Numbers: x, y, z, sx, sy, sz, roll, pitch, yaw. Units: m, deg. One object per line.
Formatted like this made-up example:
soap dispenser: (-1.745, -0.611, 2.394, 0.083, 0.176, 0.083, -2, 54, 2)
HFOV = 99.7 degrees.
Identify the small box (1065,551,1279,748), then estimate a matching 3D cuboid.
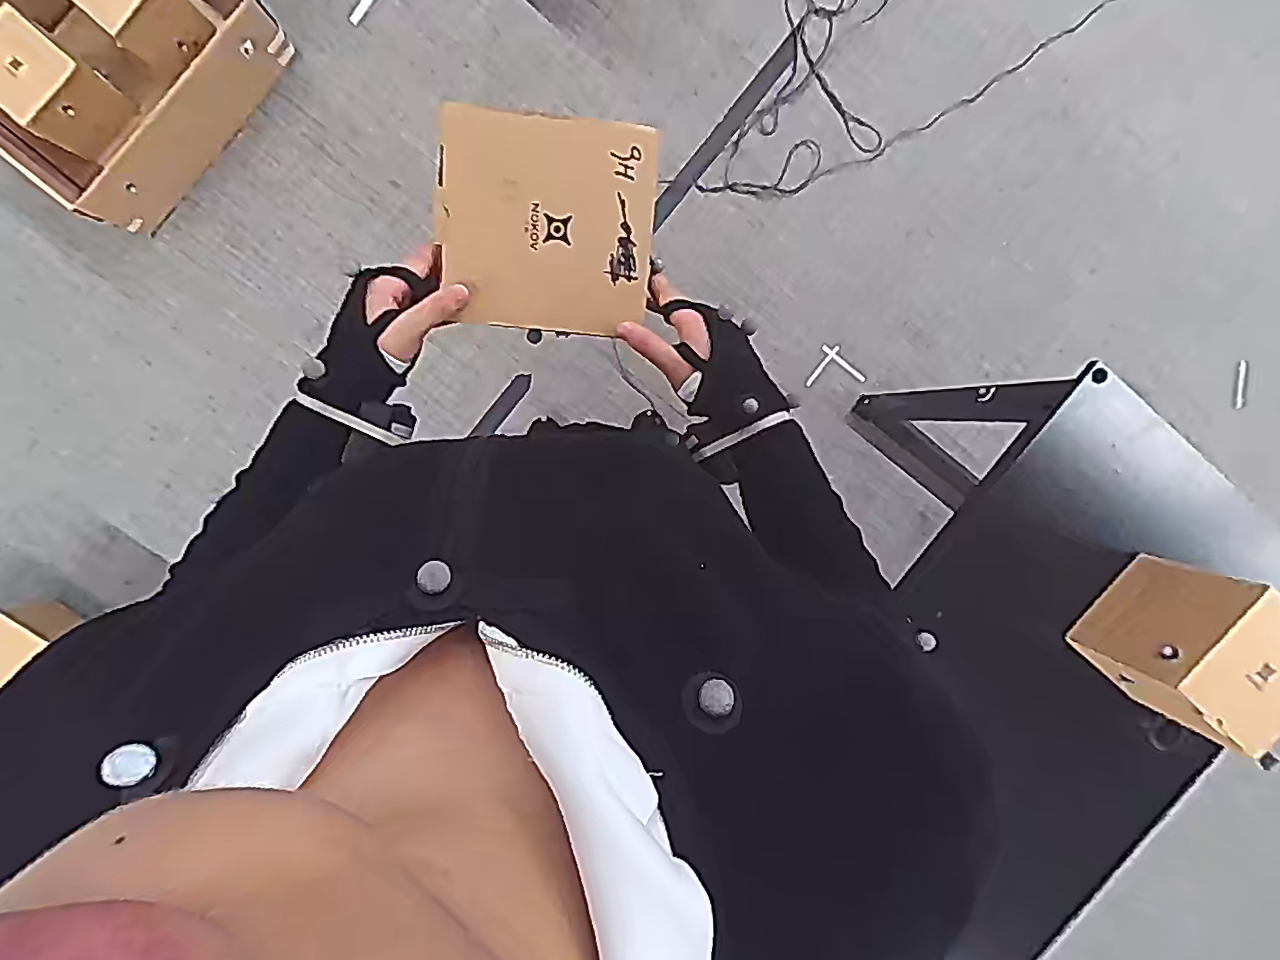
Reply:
small box: (0.777, 0.227, 0.774, 0.168, 0.176, 0.179, 39, 93, -7)

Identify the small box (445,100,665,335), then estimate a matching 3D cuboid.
small box: (-0.076, -0.234, 0.528, 0.179, 0.176, 0.168, 5, 104, -3)

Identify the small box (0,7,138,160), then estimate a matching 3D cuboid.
small box: (-1.285, -0.856, 1.191, 0.168, 0.176, 0.179, 43, 90, -9)
